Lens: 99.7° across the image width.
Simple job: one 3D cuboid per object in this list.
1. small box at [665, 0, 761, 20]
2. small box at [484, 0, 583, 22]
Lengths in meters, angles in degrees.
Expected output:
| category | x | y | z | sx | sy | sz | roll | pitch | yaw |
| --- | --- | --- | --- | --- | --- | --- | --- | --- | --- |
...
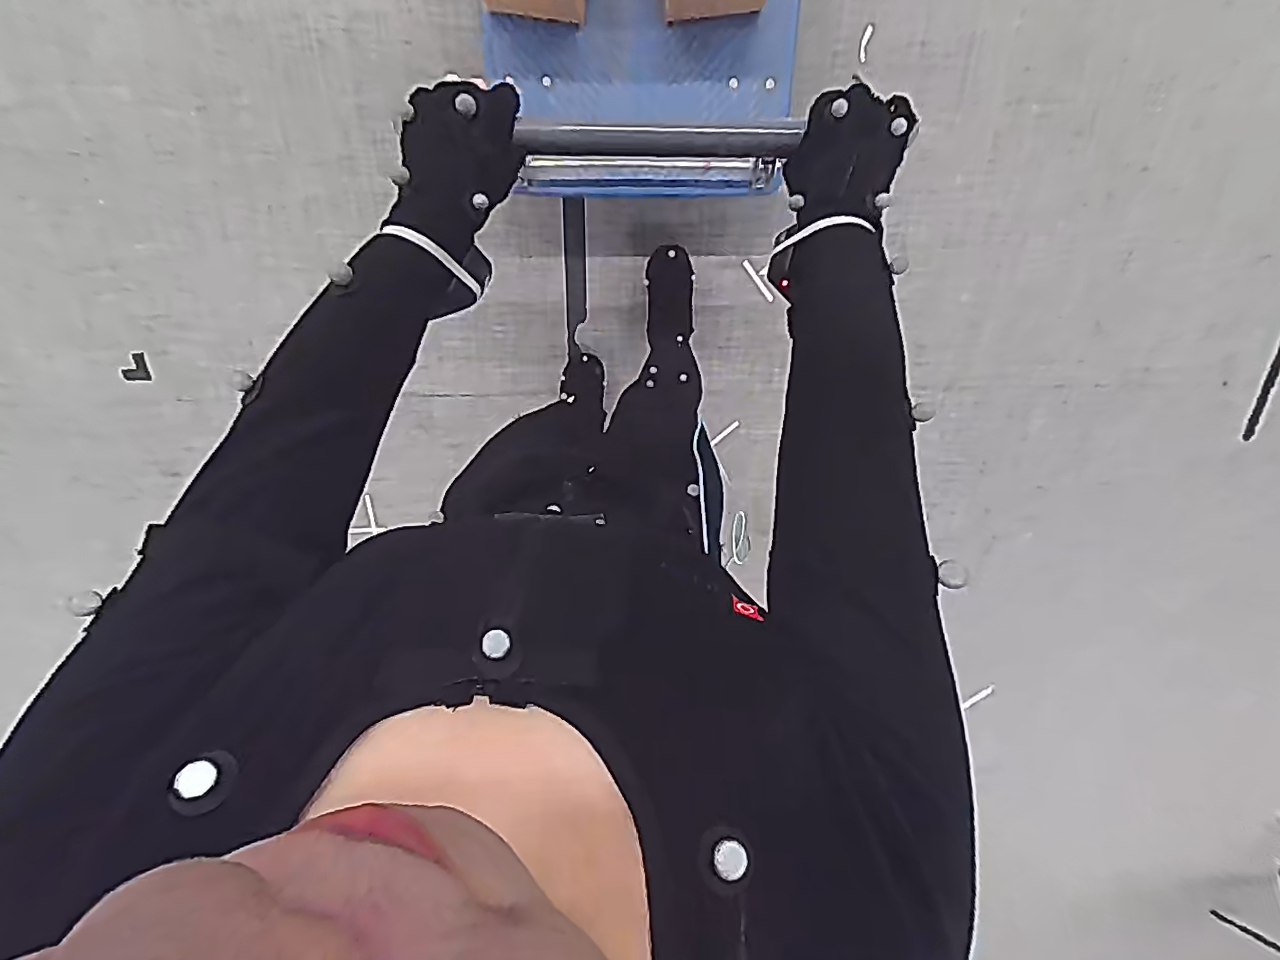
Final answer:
| category | x | y | z | sx | sy | sz | roll | pitch | yaw |
| --- | --- | --- | --- | --- | --- | --- | --- | --- | --- |
| small box | 0.126 | -0.882 | 0.876 | 0.179 | 0.176 | 0.168 | -5 | 113 | 1 |
| small box | -0.181 | -0.879 | 0.872 | 0.179 | 0.176 | 0.168 | 4 | 113 | -5 |
